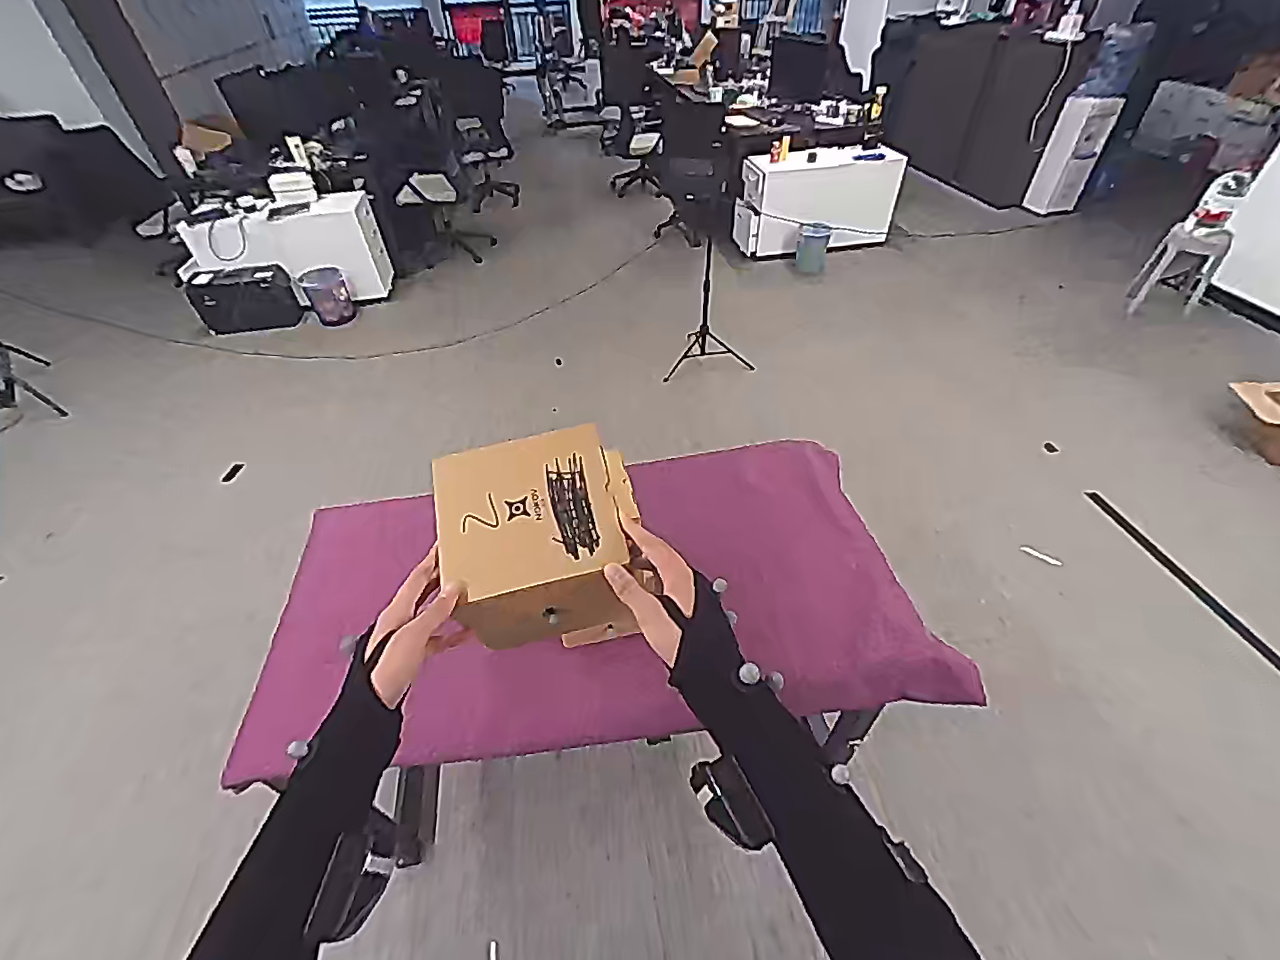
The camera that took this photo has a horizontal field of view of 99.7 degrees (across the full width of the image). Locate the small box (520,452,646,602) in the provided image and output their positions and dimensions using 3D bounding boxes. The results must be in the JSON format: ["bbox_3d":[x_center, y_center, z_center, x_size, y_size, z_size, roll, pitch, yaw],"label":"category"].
[{"bbox_3d":[-0.092,0.080,0.893,0.179,0.176,0.168,-10,43,-8],"label":"small box"}]

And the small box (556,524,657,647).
[{"bbox_3d":[-0.070,0.188,1.014,0.179,0.176,0.168,-9,43,-8],"label":"small box"}]
